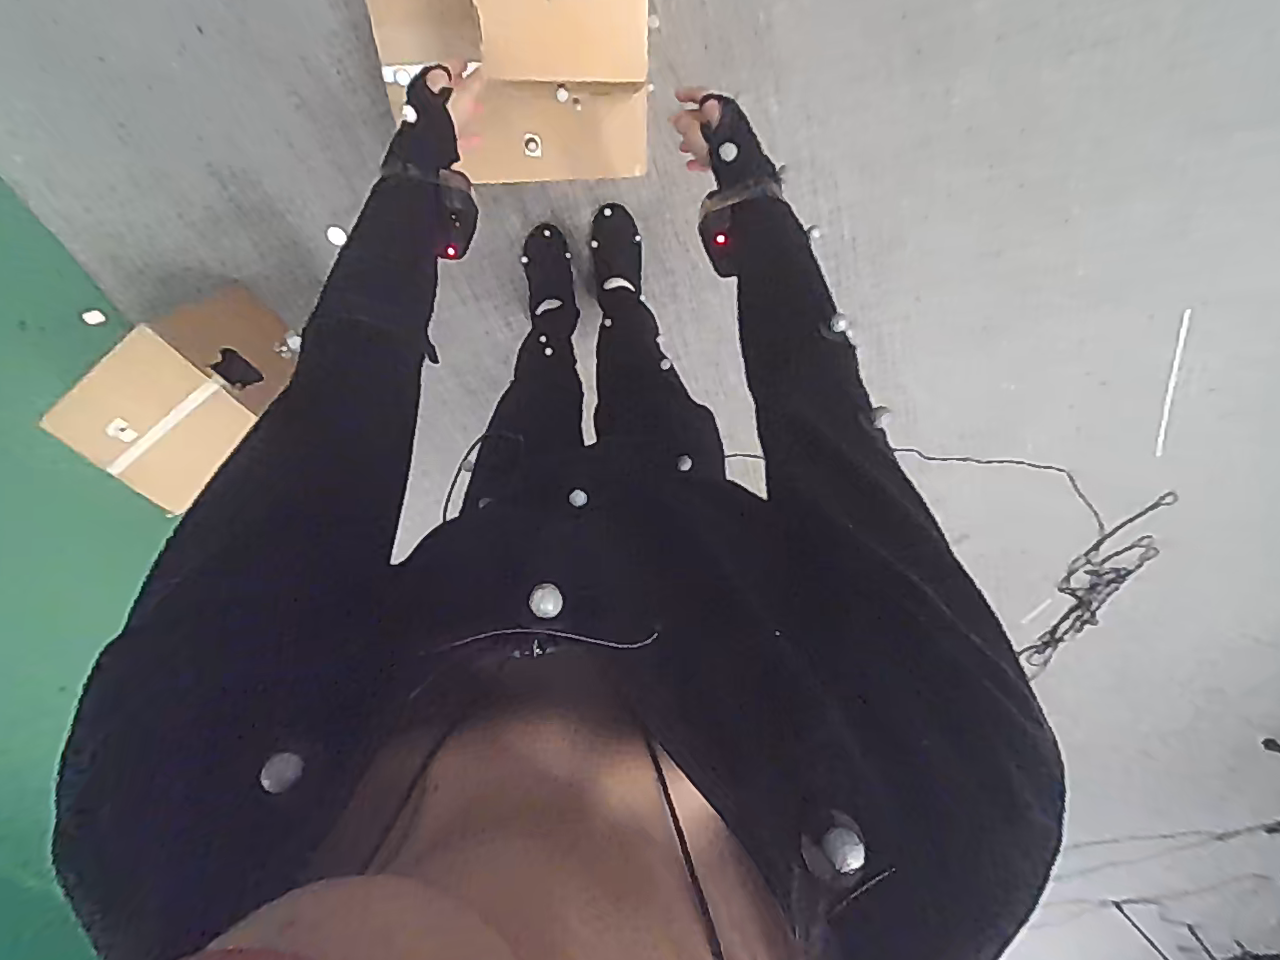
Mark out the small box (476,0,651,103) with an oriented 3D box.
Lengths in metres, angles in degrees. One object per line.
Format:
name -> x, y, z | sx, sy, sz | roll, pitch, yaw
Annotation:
small box -> -0.079, -0.526, 0.601 | 0.179, 0.176, 0.168 | 0, 122, -2

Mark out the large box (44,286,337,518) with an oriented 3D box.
large box -> -1.030, -0.187, 1.286 | 0.408, 0.320, 0.320 | -28, 120, 18
